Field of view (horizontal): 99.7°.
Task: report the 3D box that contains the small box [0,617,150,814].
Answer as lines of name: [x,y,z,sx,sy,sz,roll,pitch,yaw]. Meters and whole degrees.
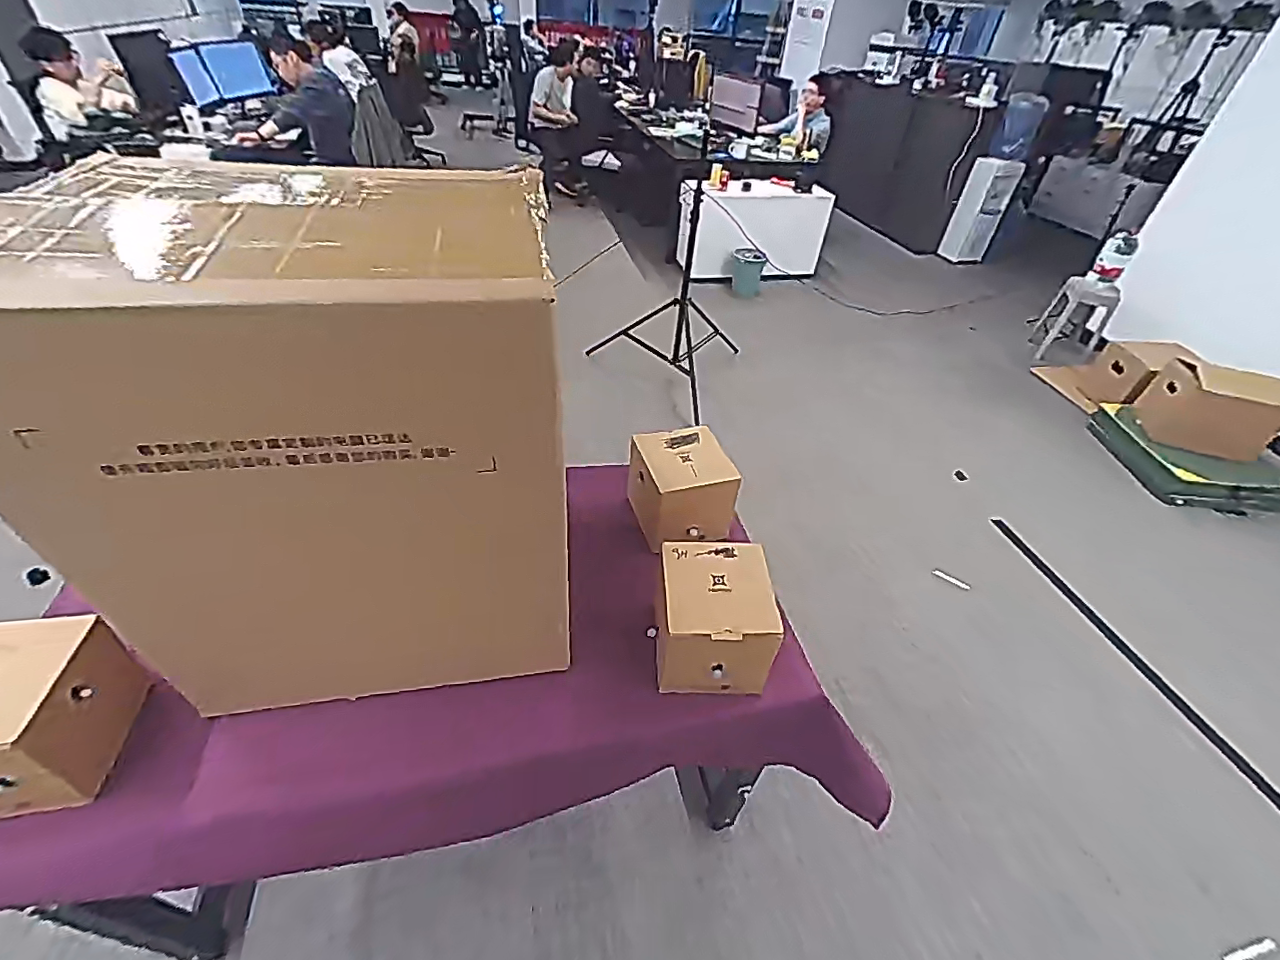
small box: [-0.777,0.301,0.681,0.168,0.176,0.179,-2,39,-14]
